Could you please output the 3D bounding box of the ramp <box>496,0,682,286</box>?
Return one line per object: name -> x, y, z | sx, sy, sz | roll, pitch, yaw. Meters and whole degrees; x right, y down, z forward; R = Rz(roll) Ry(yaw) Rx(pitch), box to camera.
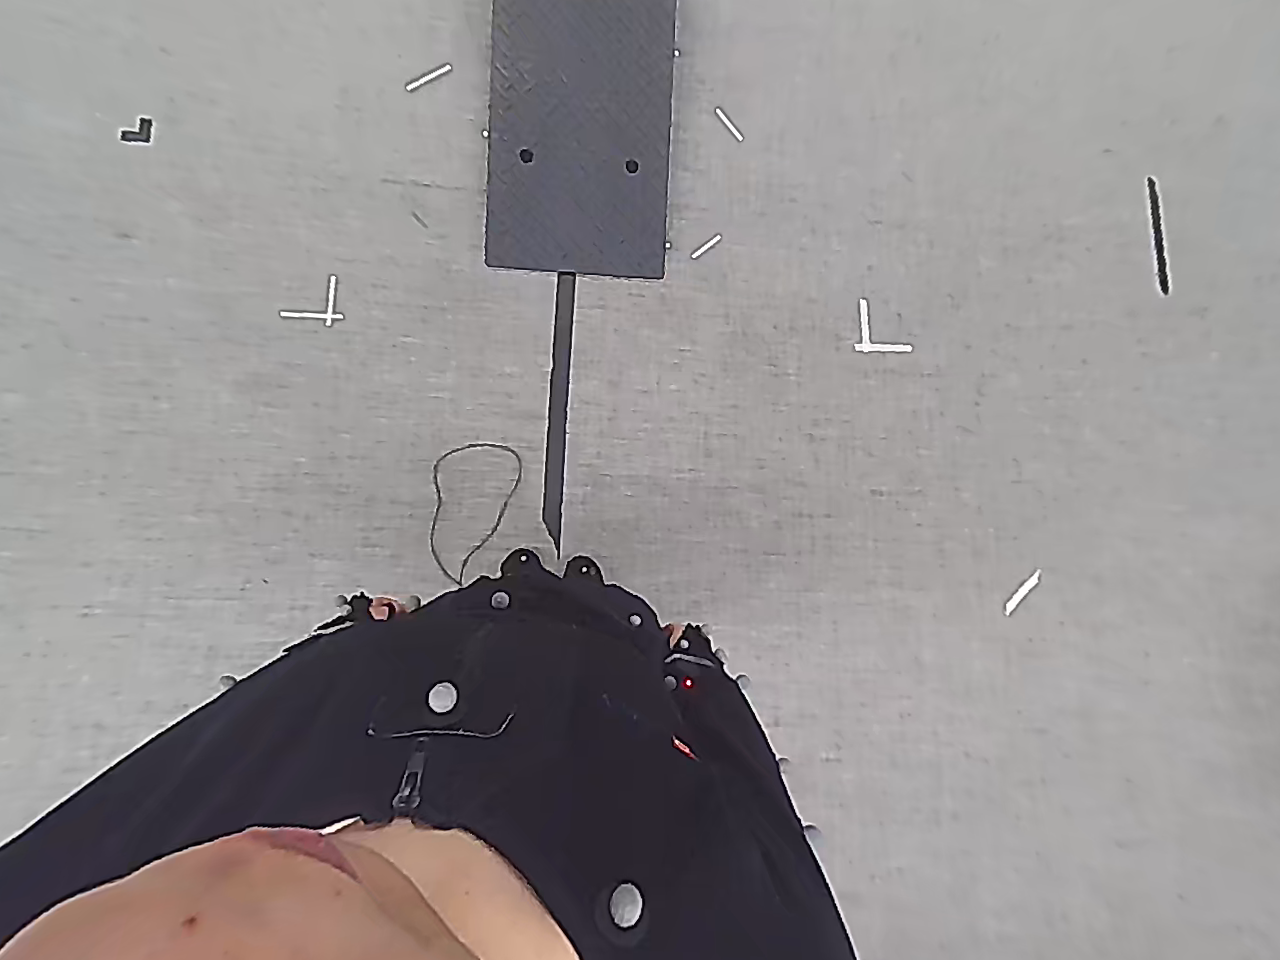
ramp -> -0.135, -1.047, 1.479 | 0.509, 0.206, 0.991 | 0, 83, -7
